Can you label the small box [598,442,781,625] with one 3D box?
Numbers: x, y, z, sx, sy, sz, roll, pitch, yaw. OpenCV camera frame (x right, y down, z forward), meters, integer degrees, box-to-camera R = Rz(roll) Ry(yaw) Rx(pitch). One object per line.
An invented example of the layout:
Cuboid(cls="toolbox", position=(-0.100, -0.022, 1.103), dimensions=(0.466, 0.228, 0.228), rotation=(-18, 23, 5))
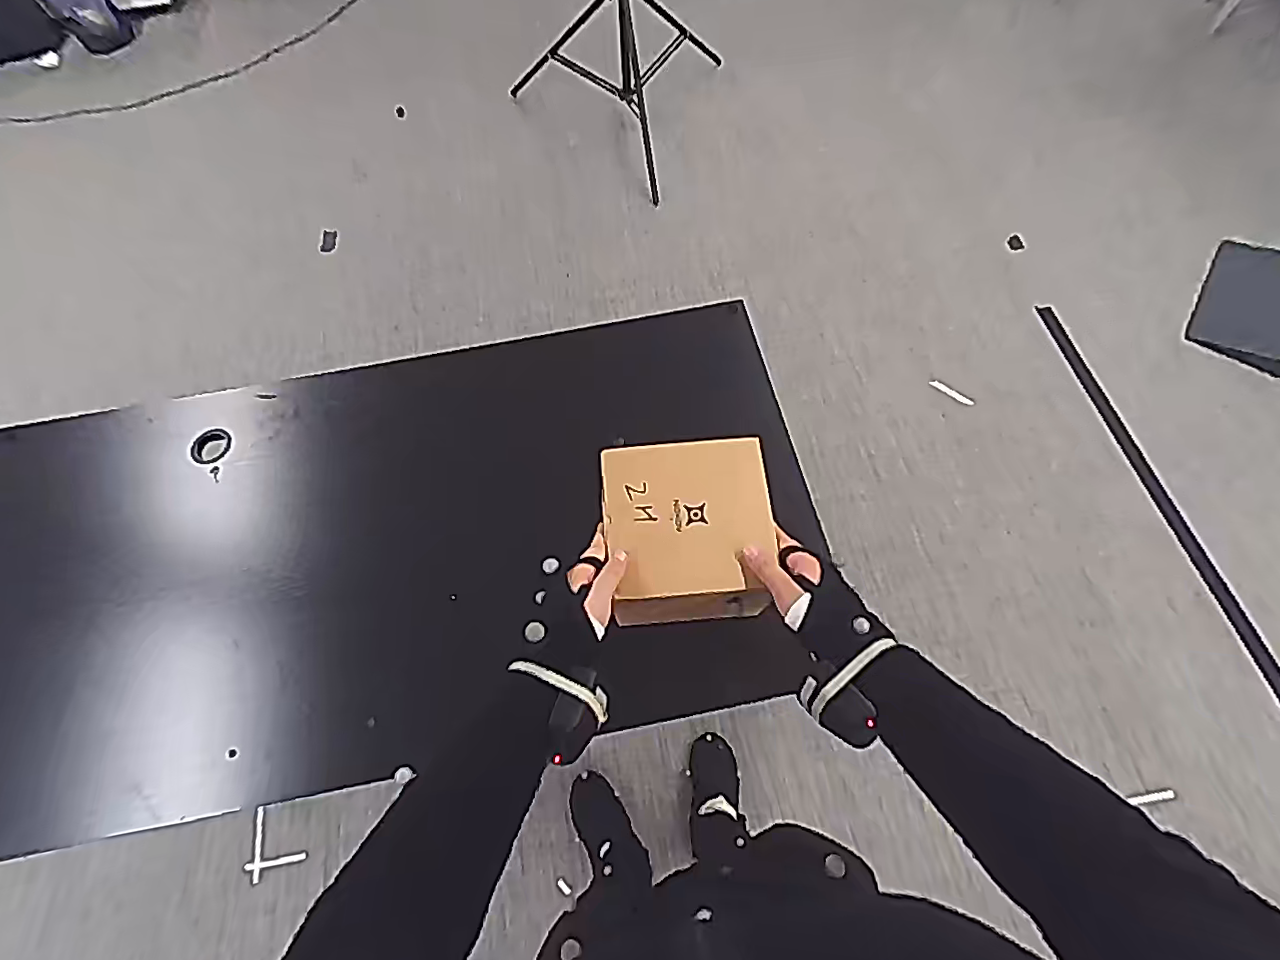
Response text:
Cuboid(cls="small box", position=(0.047, 0.070, 0.625), dimensions=(0.179, 0.176, 0.168), rotation=(-5, 67, 0))
